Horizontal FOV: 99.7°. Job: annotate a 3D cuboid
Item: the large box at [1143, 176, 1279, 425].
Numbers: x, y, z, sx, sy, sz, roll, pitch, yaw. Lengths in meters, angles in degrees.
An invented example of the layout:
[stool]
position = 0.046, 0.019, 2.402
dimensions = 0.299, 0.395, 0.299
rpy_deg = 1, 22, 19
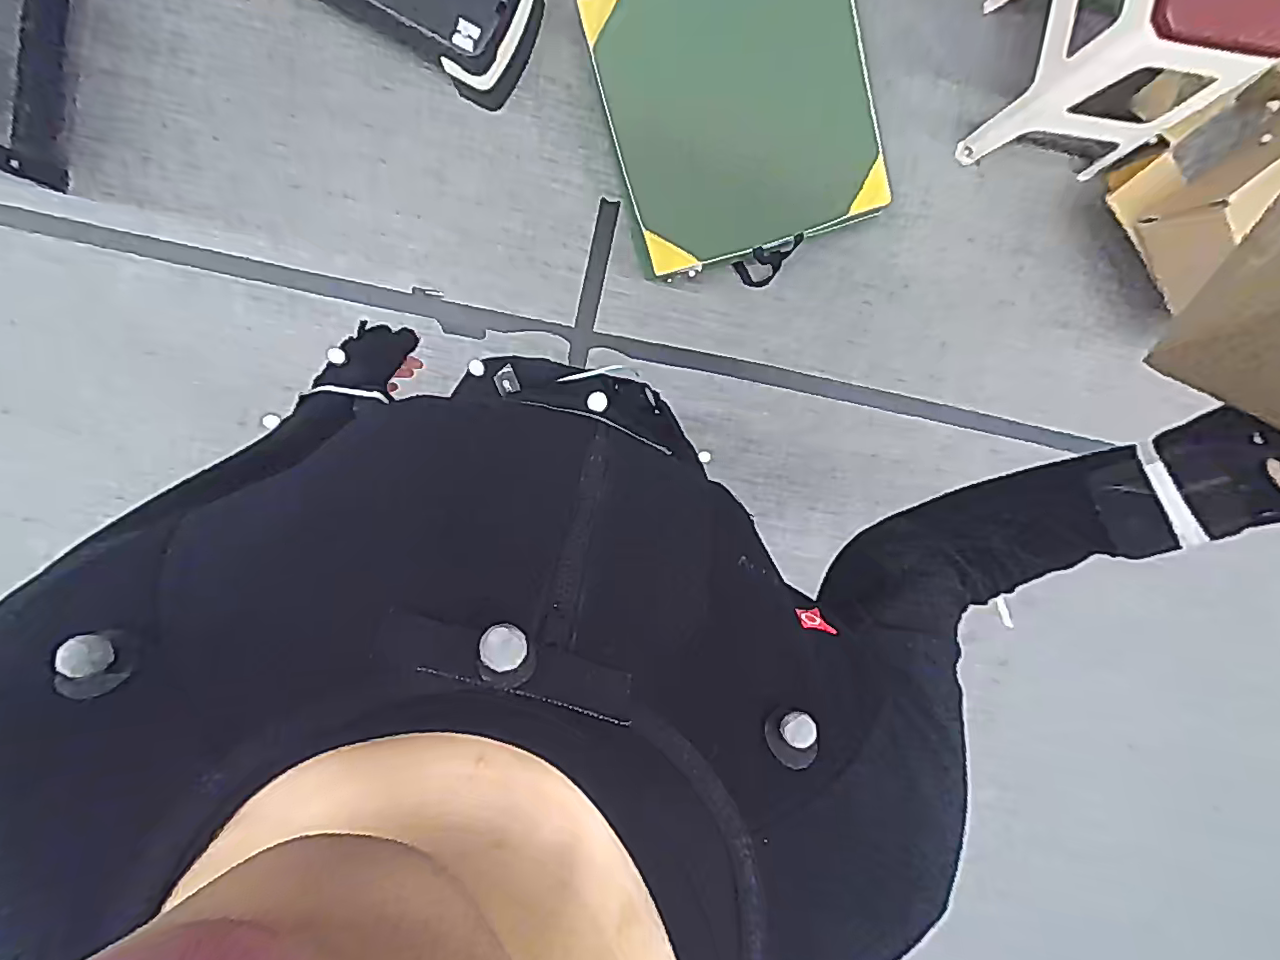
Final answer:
[large box]
position = 0.424, -0.121, 0.076
dimensions = 0.320, 0.408, 0.320
rpy_deg = 37, 105, 18
